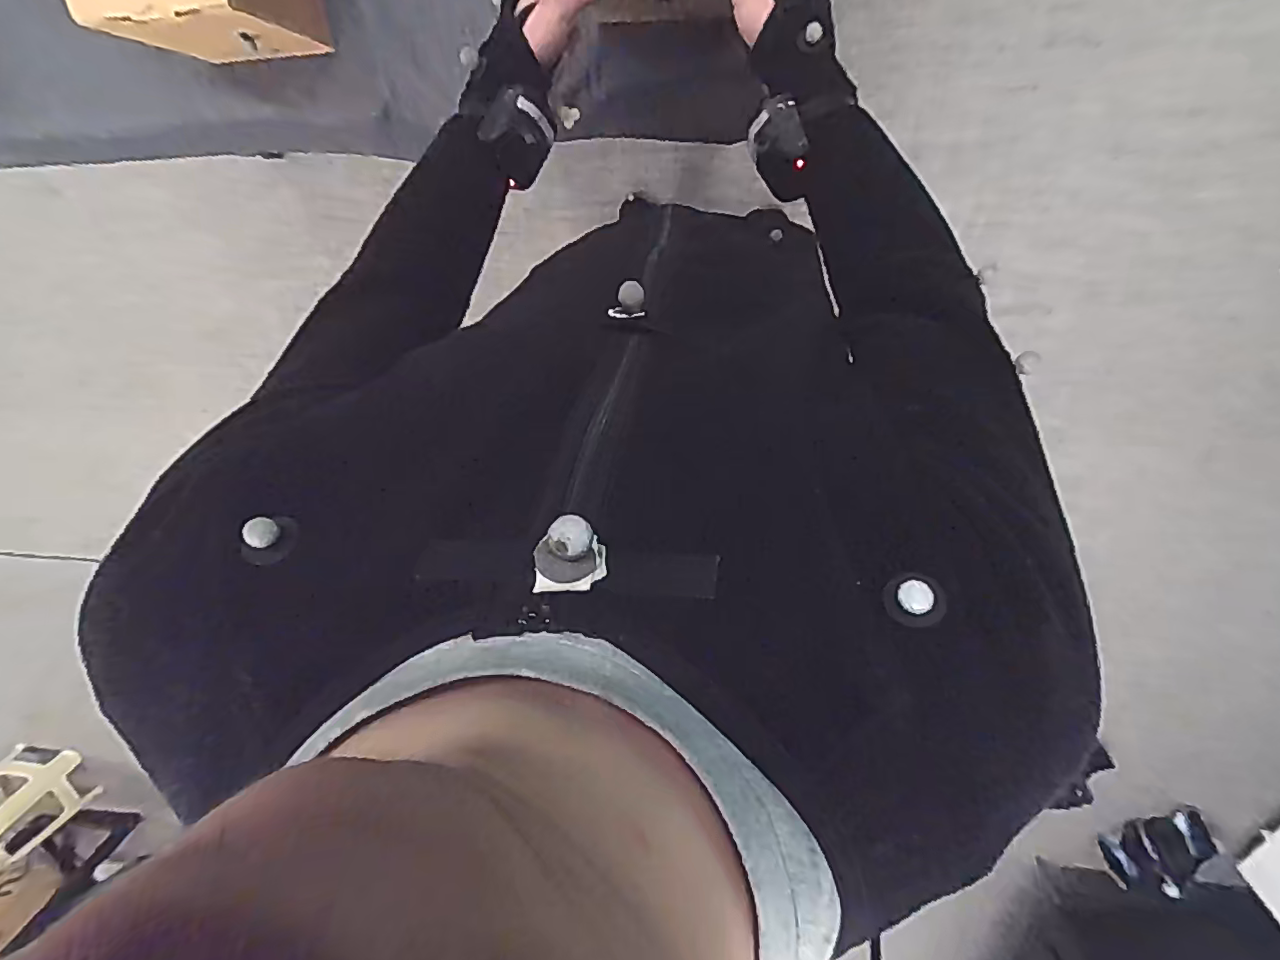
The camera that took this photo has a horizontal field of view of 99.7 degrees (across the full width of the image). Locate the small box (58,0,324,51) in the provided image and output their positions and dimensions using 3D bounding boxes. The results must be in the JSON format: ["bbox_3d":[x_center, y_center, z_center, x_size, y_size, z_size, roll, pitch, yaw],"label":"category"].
[{"bbox_3d":[-0.446,-0.542,0.523,0.168,0.176,0.179,0,116,6],"label":"small box"}]

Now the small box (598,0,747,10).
[{"bbox_3d":[0.023,-0.531,0.461,0.168,0.176,0.179,4,118,8],"label":"small box"}]
